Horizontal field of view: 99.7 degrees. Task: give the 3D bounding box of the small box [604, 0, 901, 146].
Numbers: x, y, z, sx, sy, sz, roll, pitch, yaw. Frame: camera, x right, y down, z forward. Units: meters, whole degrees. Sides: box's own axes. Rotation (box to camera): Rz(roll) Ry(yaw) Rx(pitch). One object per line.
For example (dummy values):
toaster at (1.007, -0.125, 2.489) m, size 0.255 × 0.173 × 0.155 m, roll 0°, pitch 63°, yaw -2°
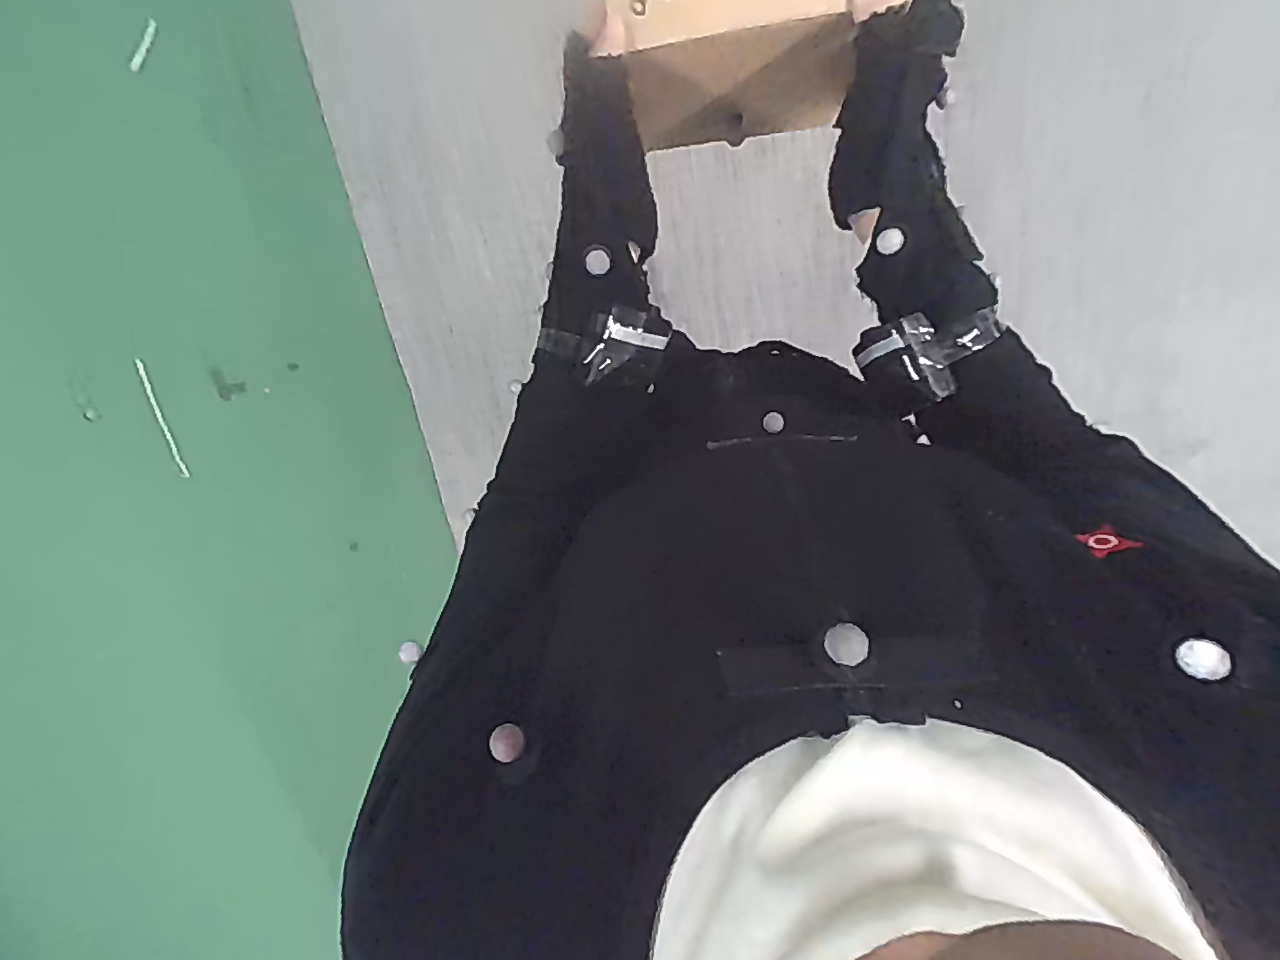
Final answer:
small box at (0.061, -0.363, 0.378) m, size 0.179 × 0.176 × 0.168 m, roll -6°, pitch 101°, yaw 4°
